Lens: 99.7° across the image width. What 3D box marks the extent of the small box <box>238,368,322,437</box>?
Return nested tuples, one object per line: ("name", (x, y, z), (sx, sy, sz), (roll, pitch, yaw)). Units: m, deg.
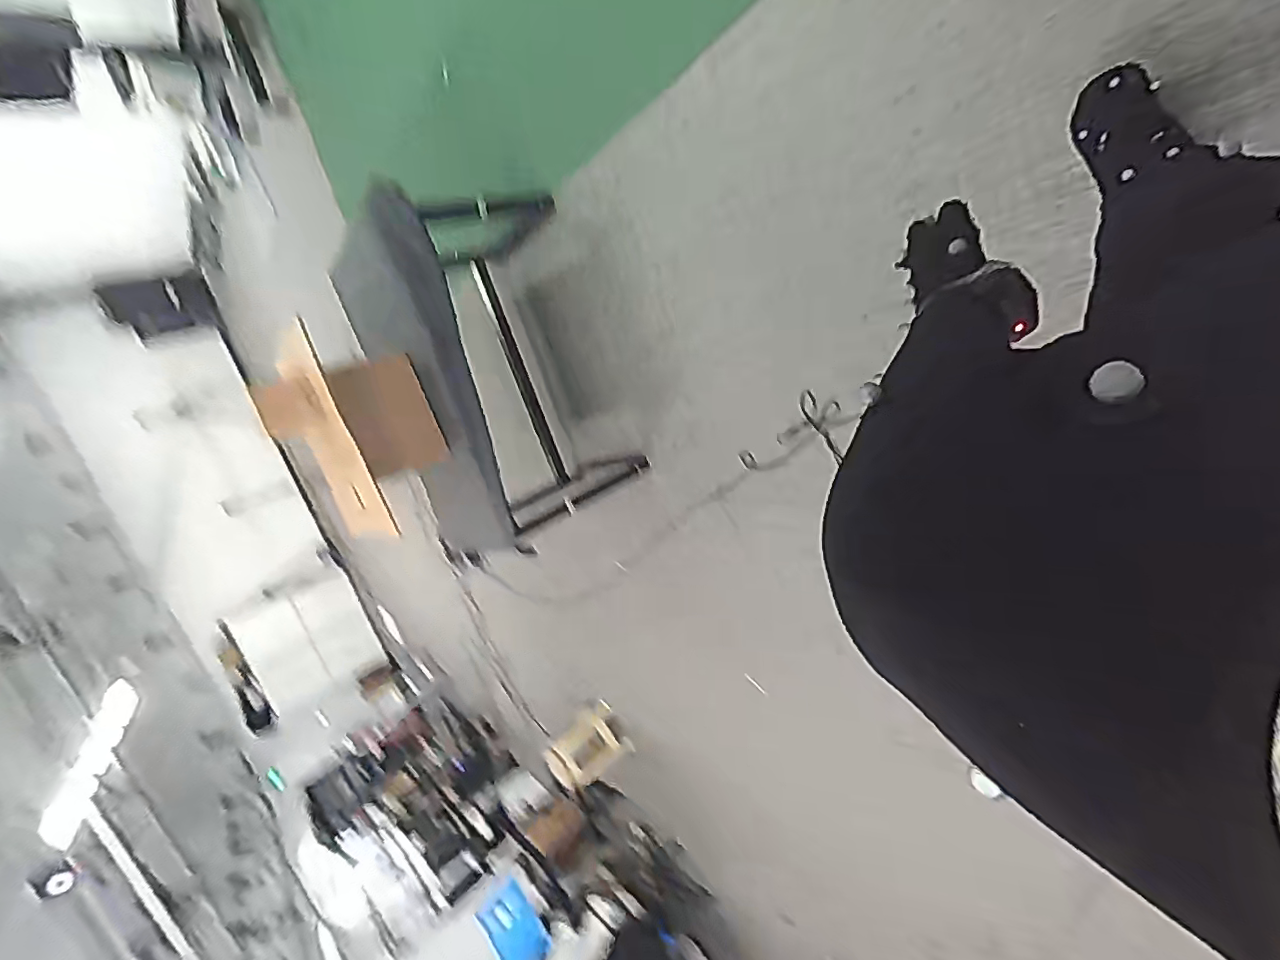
("small box", (-1.131, -0.243, 1.702), (0.179, 0.176, 0.168), (-4, 108, 49))
